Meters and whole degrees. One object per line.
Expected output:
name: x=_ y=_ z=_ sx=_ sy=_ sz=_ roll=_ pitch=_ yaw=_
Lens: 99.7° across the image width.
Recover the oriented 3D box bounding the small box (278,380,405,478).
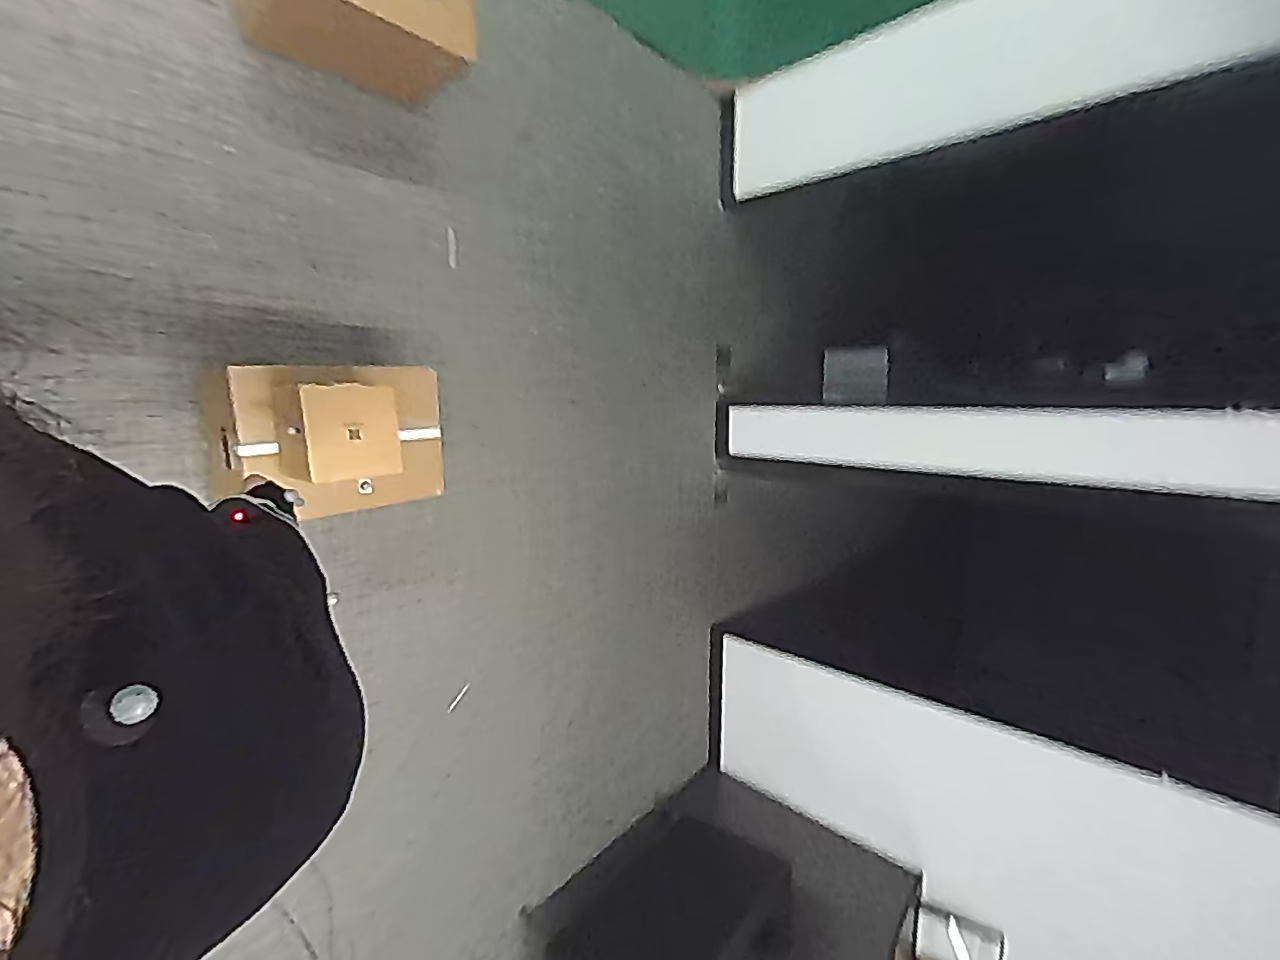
small box: x=-0.585 y=-0.105 z=1.060 sx=0.168 sy=0.176 sz=0.179 roll=-12 pitch=103 yaw=-47

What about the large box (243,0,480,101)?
large box: x=-0.626 y=-1.135 z=1.206 sx=0.408 sy=0.320 sz=0.320 roll=-12 pitch=105 yaw=-49
